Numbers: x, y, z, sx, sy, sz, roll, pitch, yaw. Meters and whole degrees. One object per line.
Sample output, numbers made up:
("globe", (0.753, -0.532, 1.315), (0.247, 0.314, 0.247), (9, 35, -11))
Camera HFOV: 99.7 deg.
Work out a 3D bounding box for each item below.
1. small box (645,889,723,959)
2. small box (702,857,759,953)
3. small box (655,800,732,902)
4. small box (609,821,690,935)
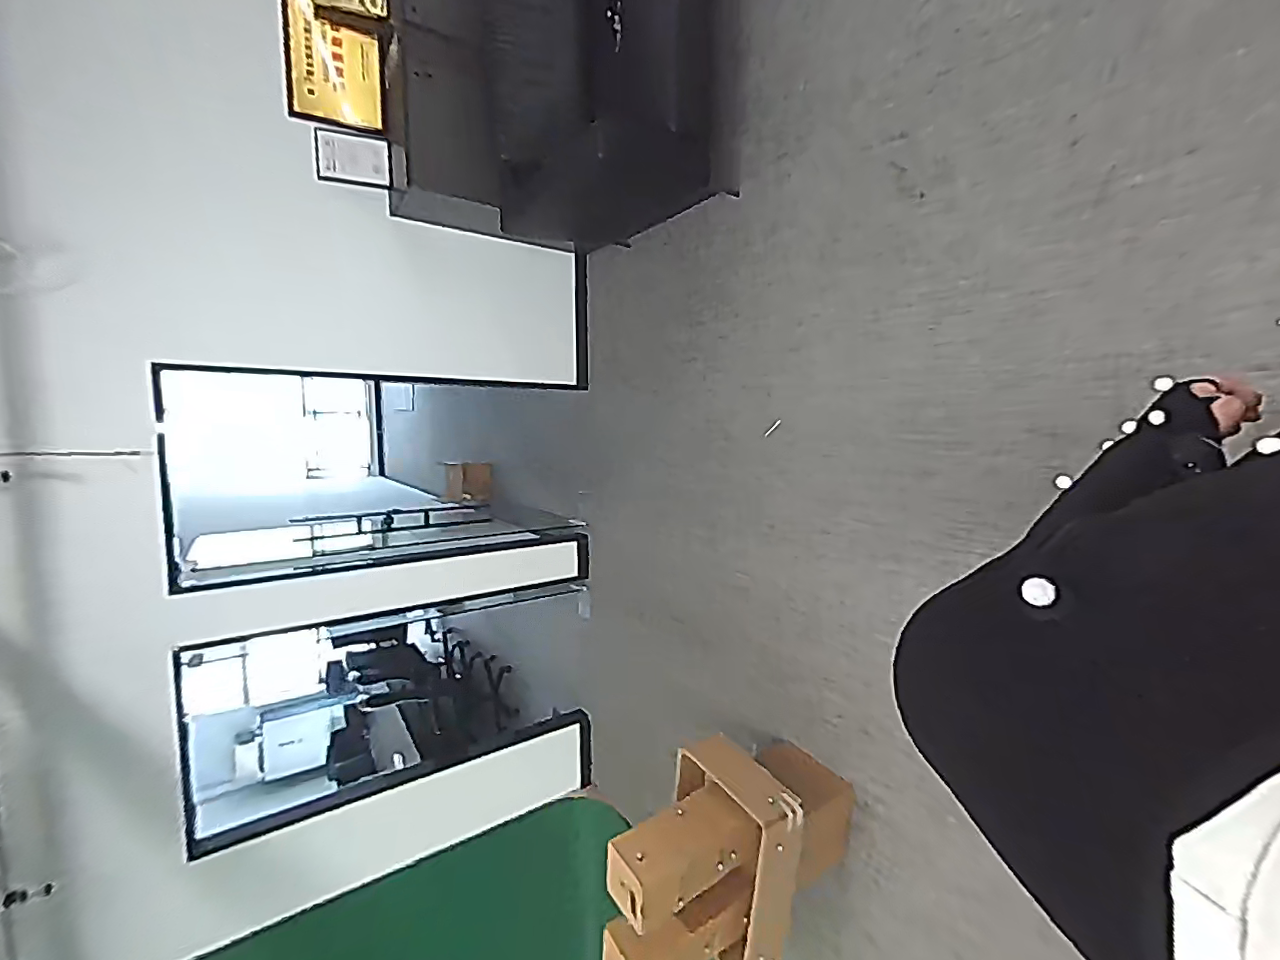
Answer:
("small box", (0.139, 1.415, 1.722), (0.179, 0.176, 0.168), (20, 109, 51))
("small box", (0.272, 1.405, 1.812), (0.179, 0.176, 0.168), (20, 110, 52))
("small box", (0.158, 1.125, 1.663), (0.179, 0.176, 0.168), (16, 107, 52))
("small box", (0.028, 1.137, 1.563), (0.179, 0.176, 0.168), (16, 107, 53))
